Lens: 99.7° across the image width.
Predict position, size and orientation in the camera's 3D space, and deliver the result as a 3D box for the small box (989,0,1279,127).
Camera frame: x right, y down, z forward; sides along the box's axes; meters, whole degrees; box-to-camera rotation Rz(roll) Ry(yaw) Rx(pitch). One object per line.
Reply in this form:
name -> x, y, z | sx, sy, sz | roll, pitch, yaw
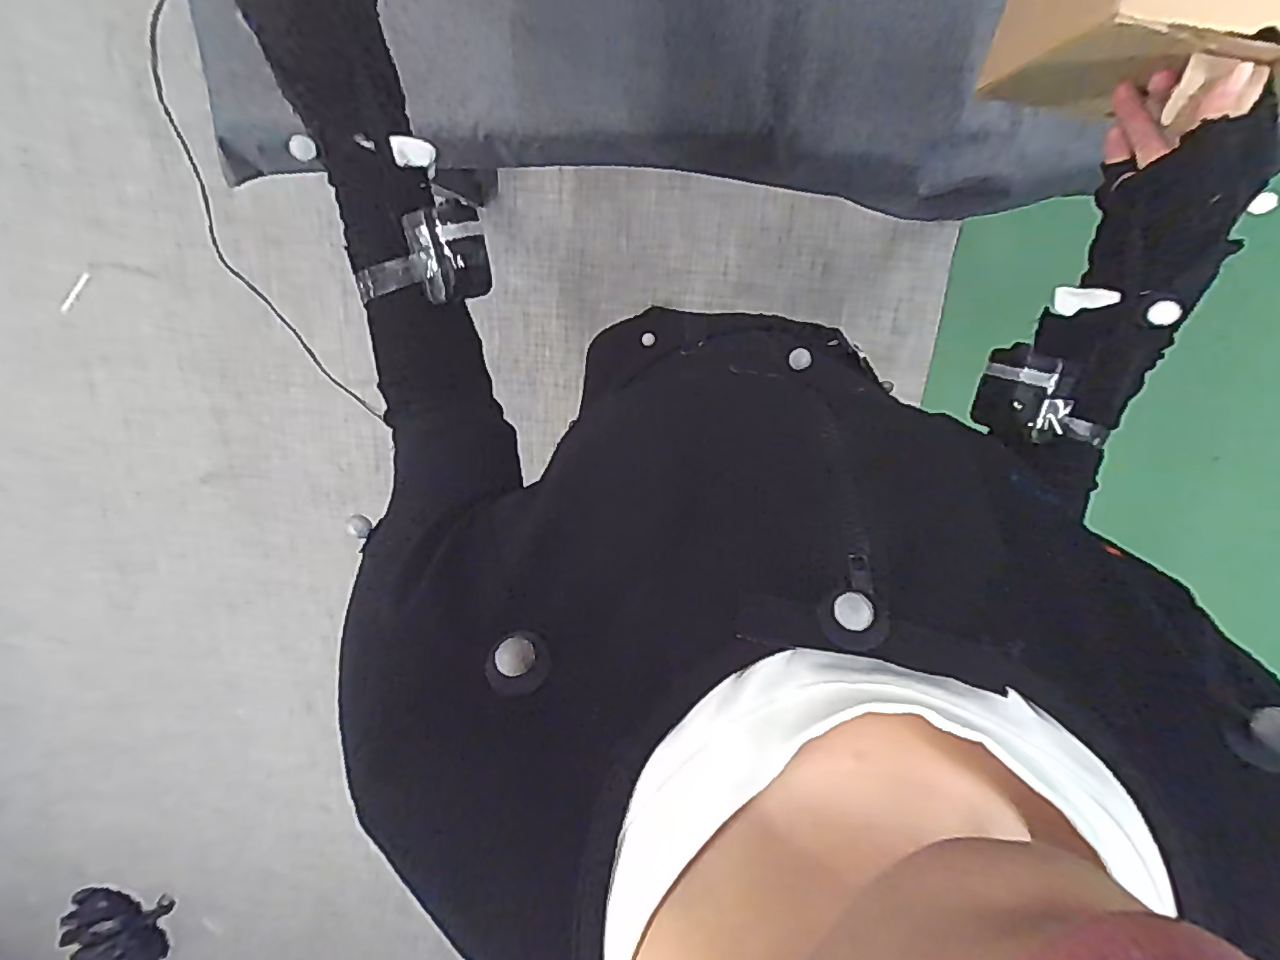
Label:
small box -> 0.357, -0.340, 0.332 | 0.168, 0.176, 0.179 | 12, 115, 1
